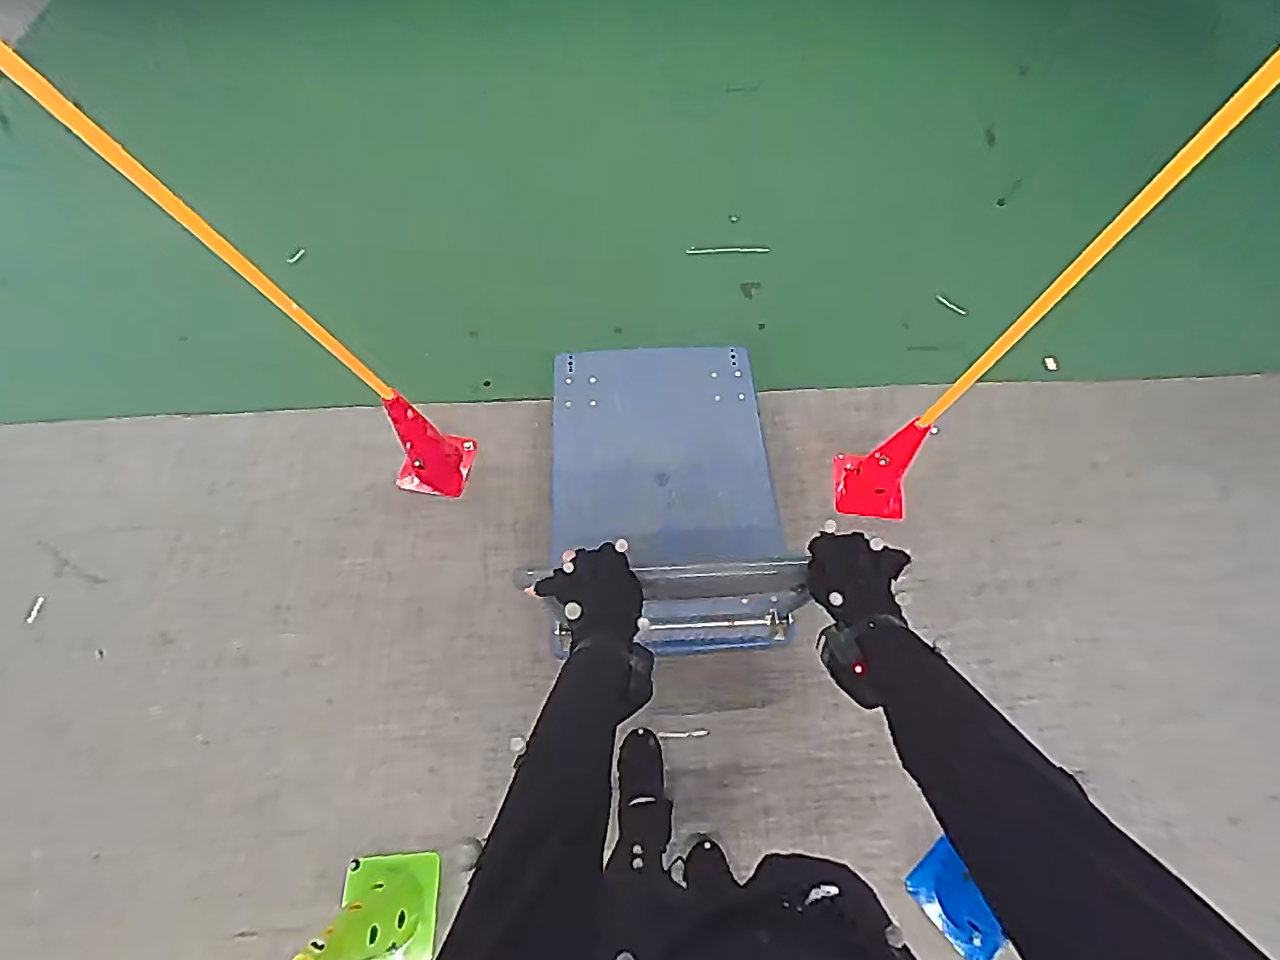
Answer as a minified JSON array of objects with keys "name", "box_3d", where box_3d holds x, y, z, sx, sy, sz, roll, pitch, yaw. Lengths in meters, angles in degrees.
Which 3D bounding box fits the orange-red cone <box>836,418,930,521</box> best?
[{"name":"orange-red cone","box_3d":[0.681,-0.053,1.454,0.198,0.360,0.199,8,64,4]}]
